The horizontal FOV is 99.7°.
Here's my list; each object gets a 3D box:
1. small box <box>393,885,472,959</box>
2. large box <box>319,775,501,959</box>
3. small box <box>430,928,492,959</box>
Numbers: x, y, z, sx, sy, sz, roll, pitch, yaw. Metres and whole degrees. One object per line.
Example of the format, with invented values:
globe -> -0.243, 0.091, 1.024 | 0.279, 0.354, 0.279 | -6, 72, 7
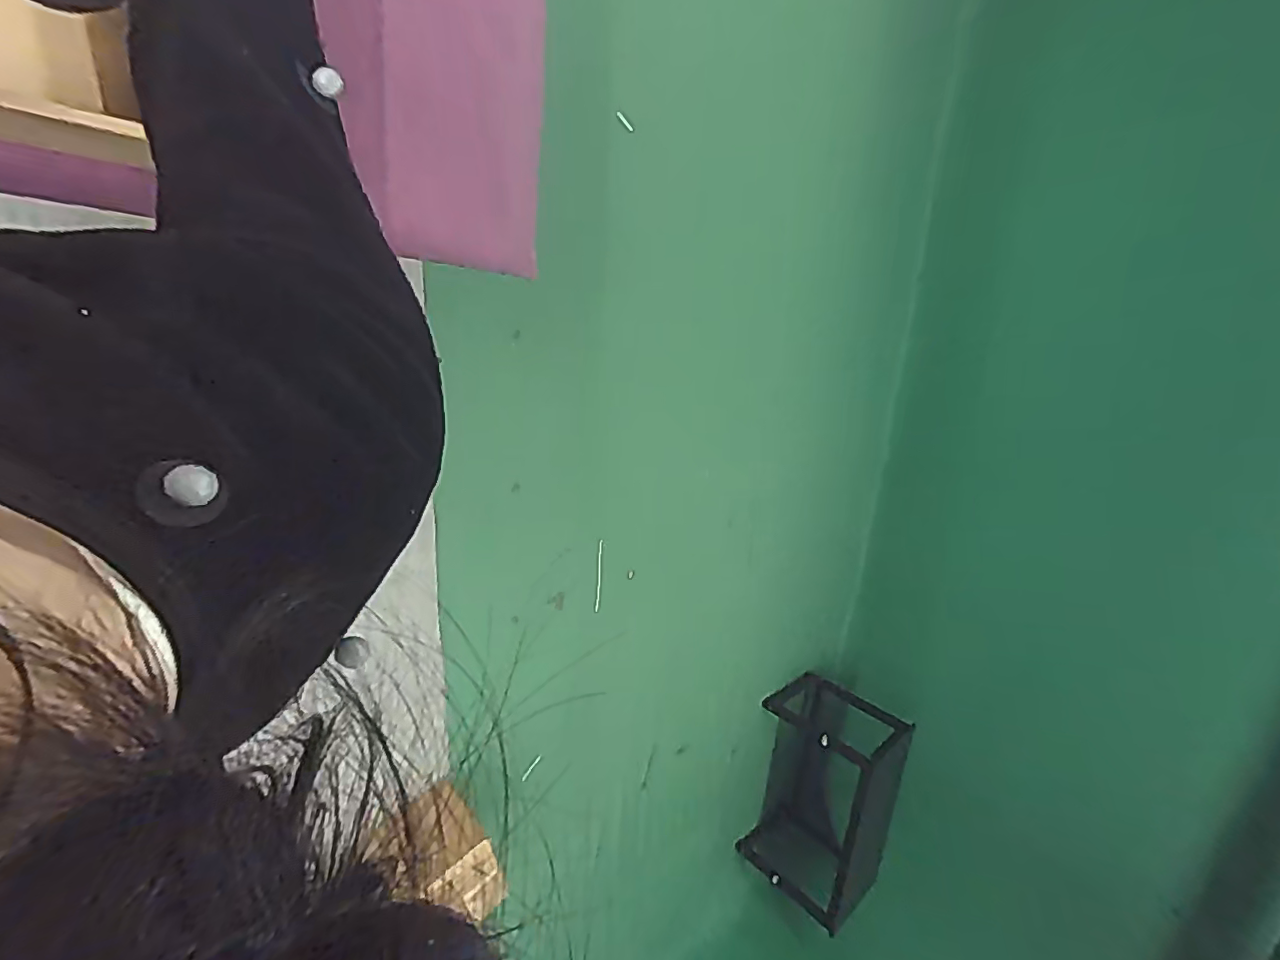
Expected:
small box -> -0.586, 1.317, 1.550 | 0.168, 0.176, 0.179 | -22, 118, -38
large box -> -0.732, 1.276, 1.746 | 0.408, 0.320, 0.320 | -29, 124, -37
small box -> -0.477, 1.364, 1.439 | 0.179, 0.176, 0.168 | -20, 117, -39
